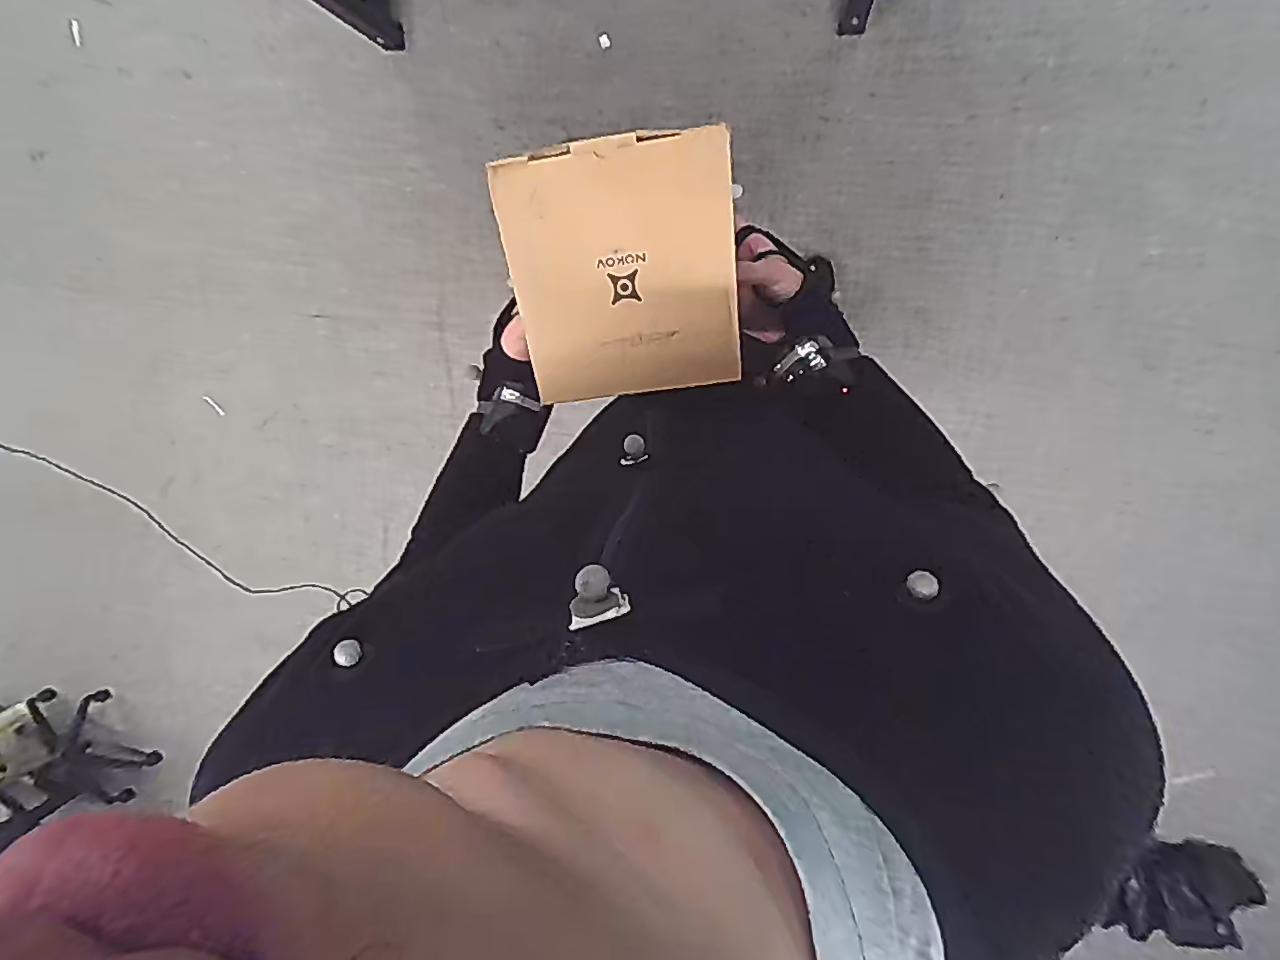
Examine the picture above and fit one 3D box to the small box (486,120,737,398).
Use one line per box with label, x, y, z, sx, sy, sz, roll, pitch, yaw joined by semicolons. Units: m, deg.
small box;-0.011;-0.188;0.464;0.168;0.176;0.179;-5;120;7
